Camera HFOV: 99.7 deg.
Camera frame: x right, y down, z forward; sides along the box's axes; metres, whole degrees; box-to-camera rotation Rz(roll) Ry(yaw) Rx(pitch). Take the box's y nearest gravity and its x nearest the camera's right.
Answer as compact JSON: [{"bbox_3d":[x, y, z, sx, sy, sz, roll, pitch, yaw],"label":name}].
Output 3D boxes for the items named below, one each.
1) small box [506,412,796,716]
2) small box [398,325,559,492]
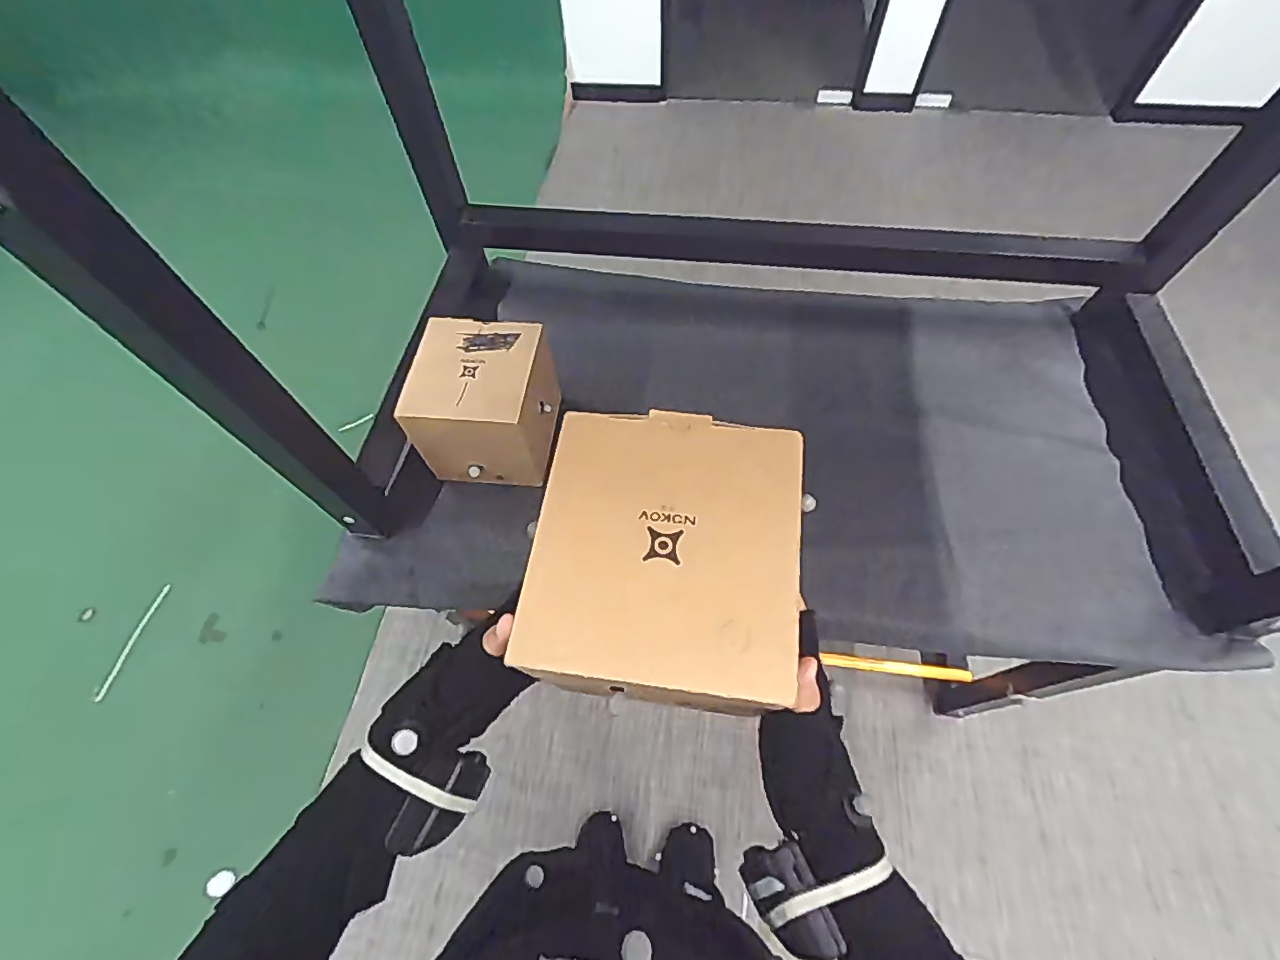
[{"bbox_3d":[0.020,0.072,0.408,0.168,0.176,0.179,5,62,7],"label":"small box"},{"bbox_3d":[-0.221,-0.102,0.796,0.168,0.176,0.179,4,60,4],"label":"small box"}]
